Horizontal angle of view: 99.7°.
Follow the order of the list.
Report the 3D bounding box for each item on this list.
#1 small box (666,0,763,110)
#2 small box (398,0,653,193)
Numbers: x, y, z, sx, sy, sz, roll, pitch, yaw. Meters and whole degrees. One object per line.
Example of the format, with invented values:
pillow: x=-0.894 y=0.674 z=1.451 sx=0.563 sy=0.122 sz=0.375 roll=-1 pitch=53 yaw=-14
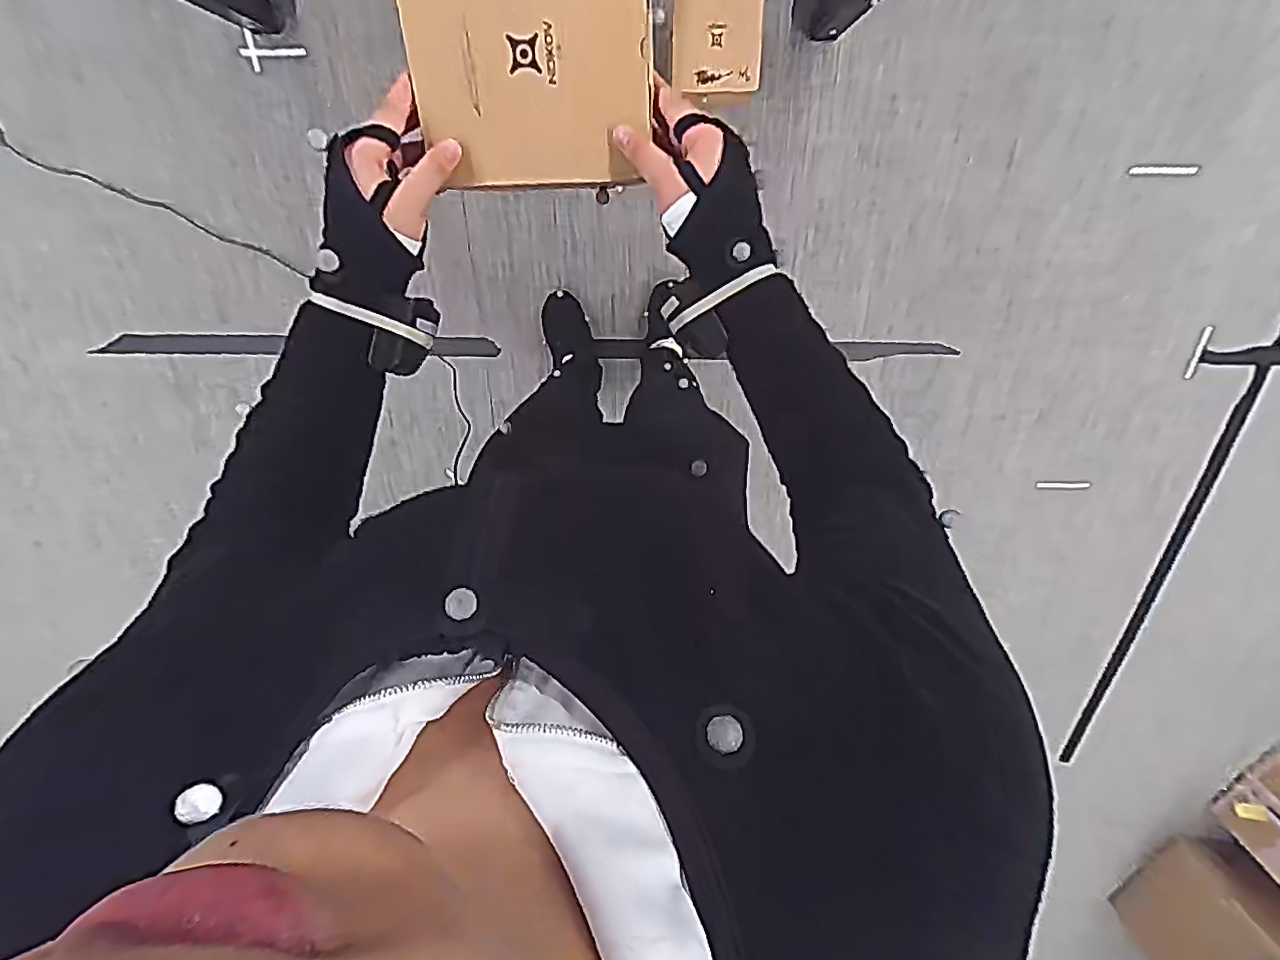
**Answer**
small box: x=0.136 y=-0.842 z=1.052 sx=0.168 sy=0.176 sz=0.179 roll=-1 pitch=116 yaw=0
small box: x=-0.082 y=-0.343 z=0.460 sx=0.179 sy=0.176 sz=0.168 roll=-3 pitch=115 yaw=1
